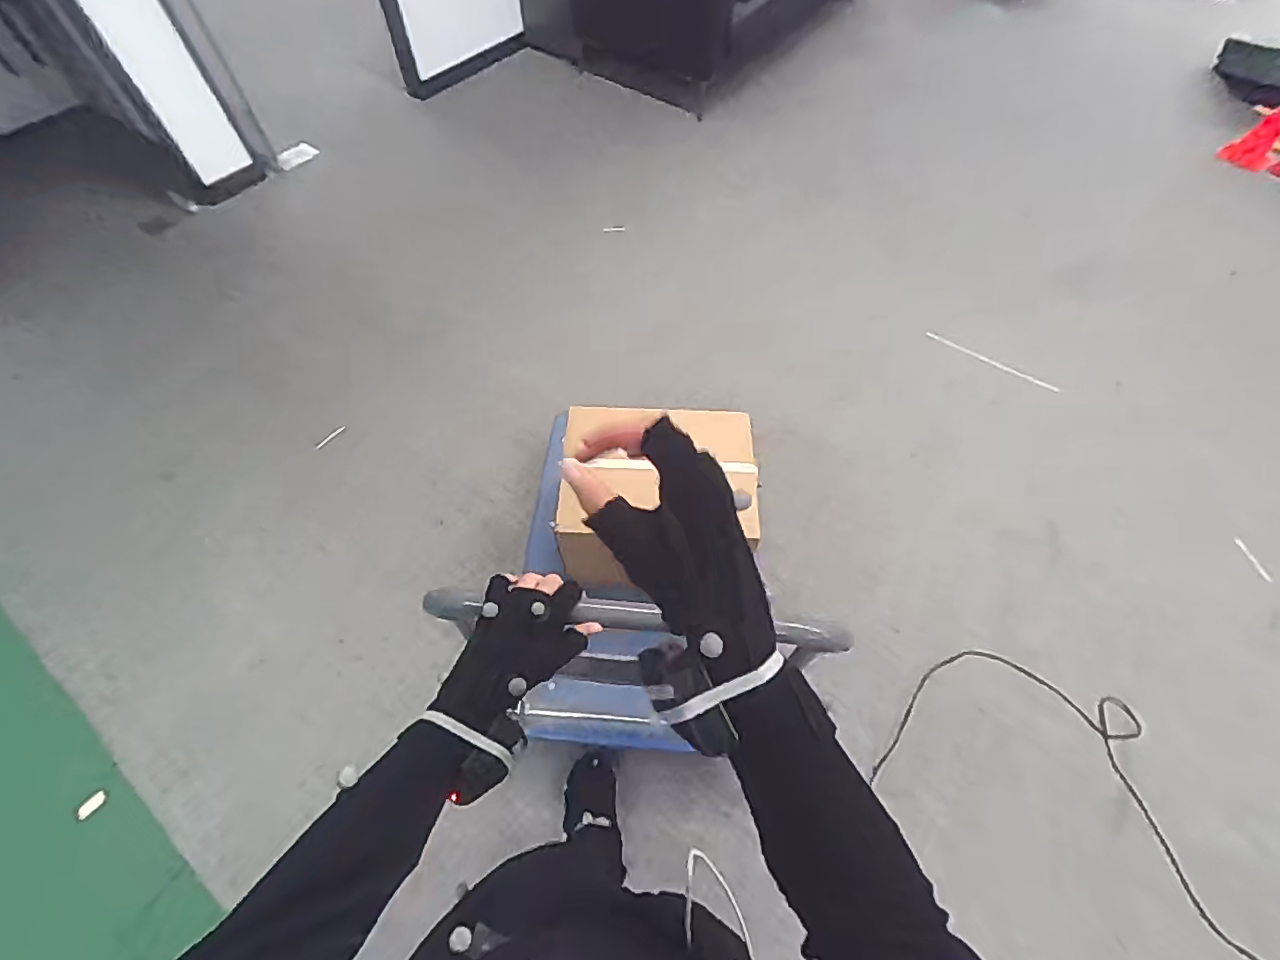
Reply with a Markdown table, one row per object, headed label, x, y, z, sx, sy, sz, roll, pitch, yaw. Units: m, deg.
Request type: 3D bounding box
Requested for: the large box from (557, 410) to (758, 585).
| label | x | y | z | sx | sy | sz | roll | pitch | yaw |
| --- | --- | --- | --- | --- | --- | --- | --- | --- | --- |
| large box | 0.035 | 0.051 | 1.264 | 0.408 | 0.320 | 0.320 | 1 | 58 | 0 |
